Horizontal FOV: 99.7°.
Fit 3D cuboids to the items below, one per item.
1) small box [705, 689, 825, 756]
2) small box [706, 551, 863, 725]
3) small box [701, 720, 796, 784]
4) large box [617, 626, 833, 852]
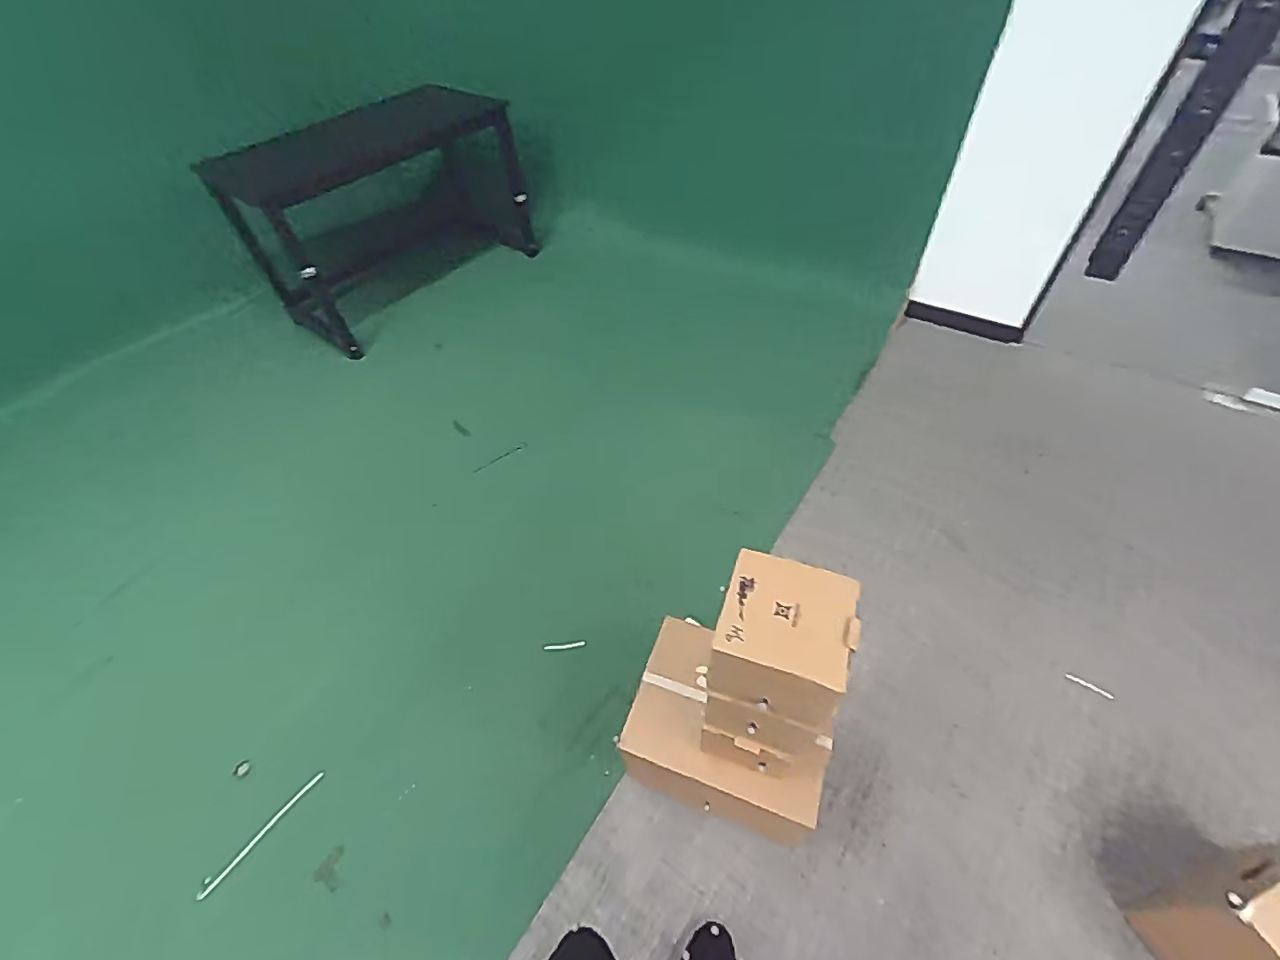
[{"bbox_3d":[0.216,0.344,0.914,0.179,0.176,0.168,14,52,16],"label":"small box"},{"bbox_3d":[0.205,0.235,0.791,0.179,0.176,0.168,15,52,15],"label":"small box"},{"bbox_3d":[0.221,0.452,1.037,0.168,0.176,0.179,15,52,16],"label":"small box"},{"bbox_3d":[0.202,0.591,1.241,0.408,0.320,0.320,13,51,17],"label":"large box"}]
